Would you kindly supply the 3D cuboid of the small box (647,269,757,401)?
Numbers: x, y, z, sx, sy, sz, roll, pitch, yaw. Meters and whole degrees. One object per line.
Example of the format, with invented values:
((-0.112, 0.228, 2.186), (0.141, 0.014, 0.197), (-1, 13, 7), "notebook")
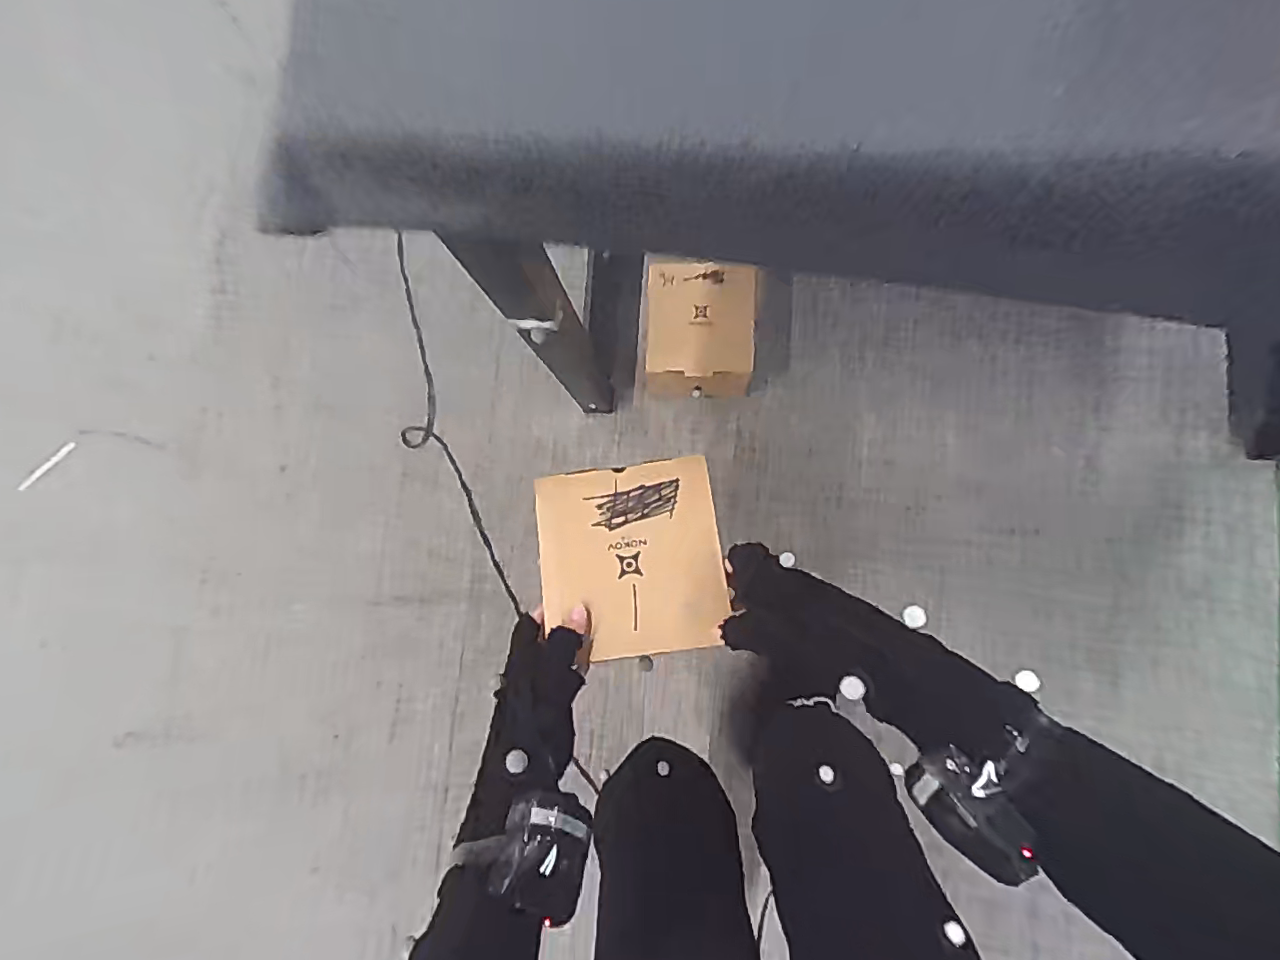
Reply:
((0.103, -0.234, 0.910), (0.168, 0.176, 0.179), (2, 85, 5), "small box")
